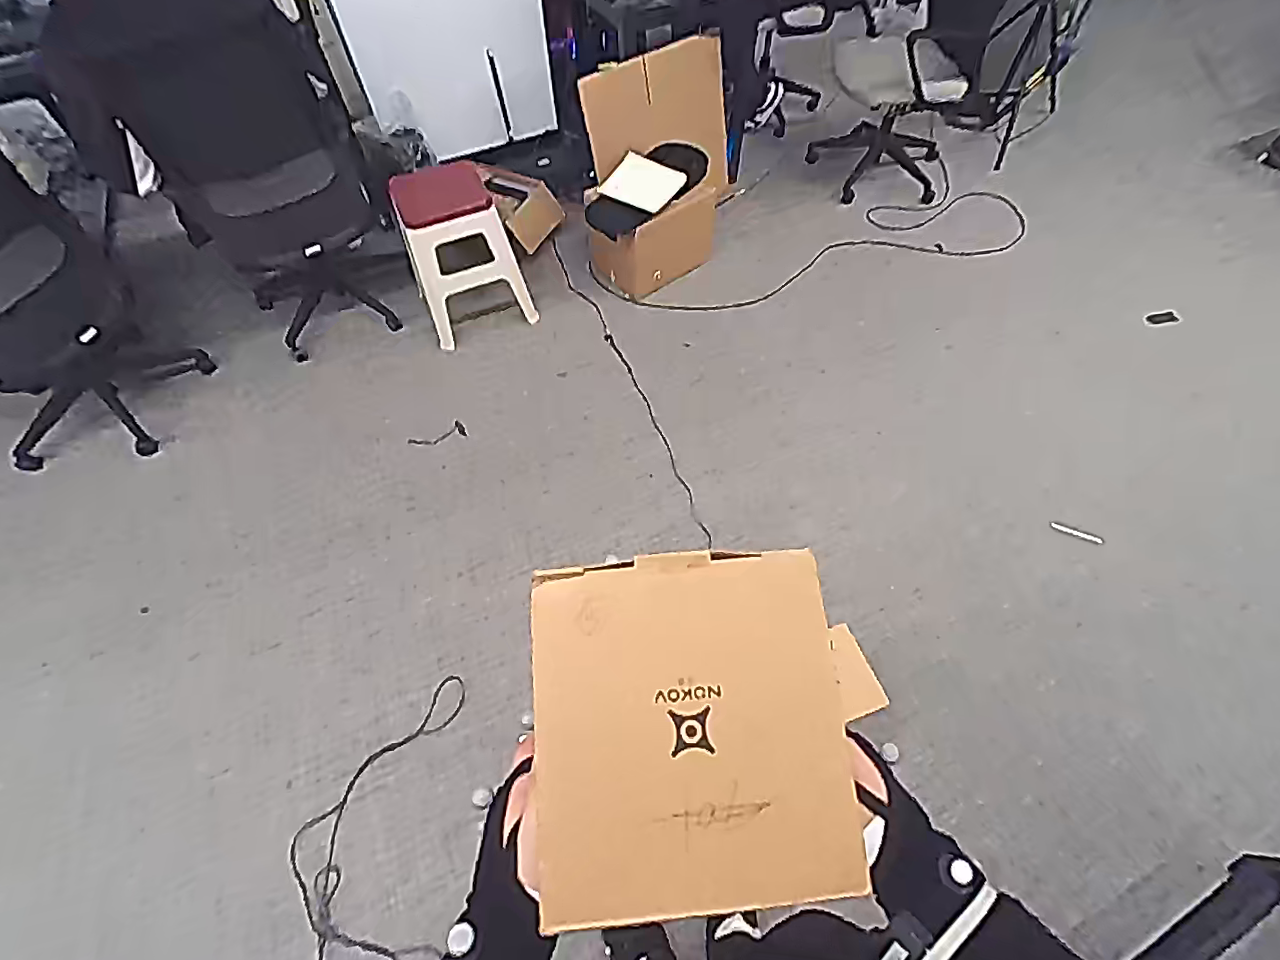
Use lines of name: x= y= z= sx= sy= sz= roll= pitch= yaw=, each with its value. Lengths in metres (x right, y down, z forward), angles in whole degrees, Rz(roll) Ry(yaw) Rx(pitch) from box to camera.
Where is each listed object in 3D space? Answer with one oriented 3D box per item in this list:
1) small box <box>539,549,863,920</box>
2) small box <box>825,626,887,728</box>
small box: x=0.024 y=0.152 z=0.370 sx=0.168 sy=0.176 sz=0.179 roll=-4 pitch=74 yaw=-3
small box: x=0.381 y=0.440 z=1.152 sx=0.168 sy=0.176 sz=0.179 roll=-17 pitch=59 yaw=-11
